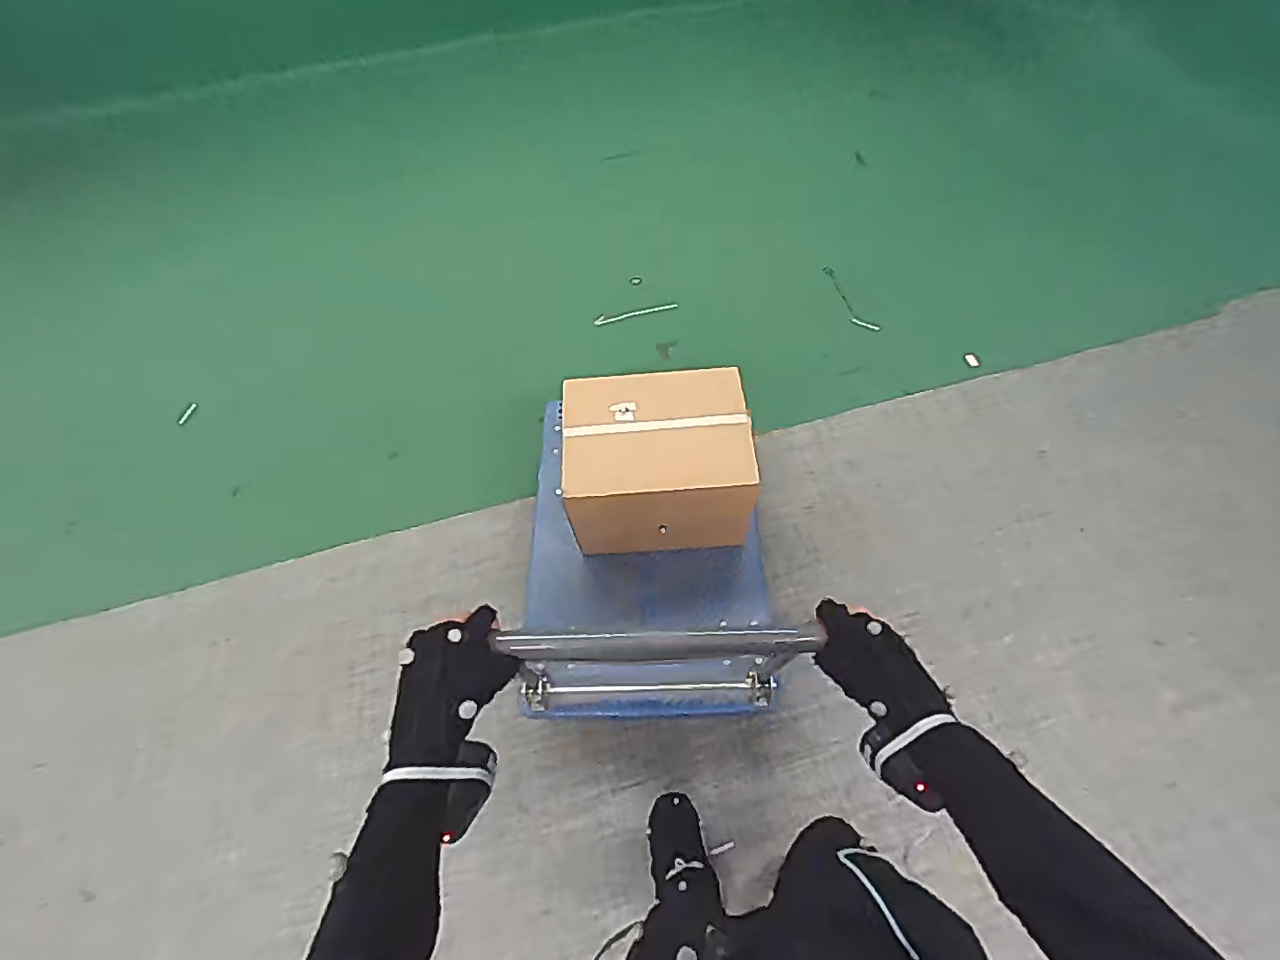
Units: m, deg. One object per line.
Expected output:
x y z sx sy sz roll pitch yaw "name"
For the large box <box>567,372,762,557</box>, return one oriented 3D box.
0.051 -0.024 1.303 0.408 0.320 0.320 -5 59 1 "large box"
